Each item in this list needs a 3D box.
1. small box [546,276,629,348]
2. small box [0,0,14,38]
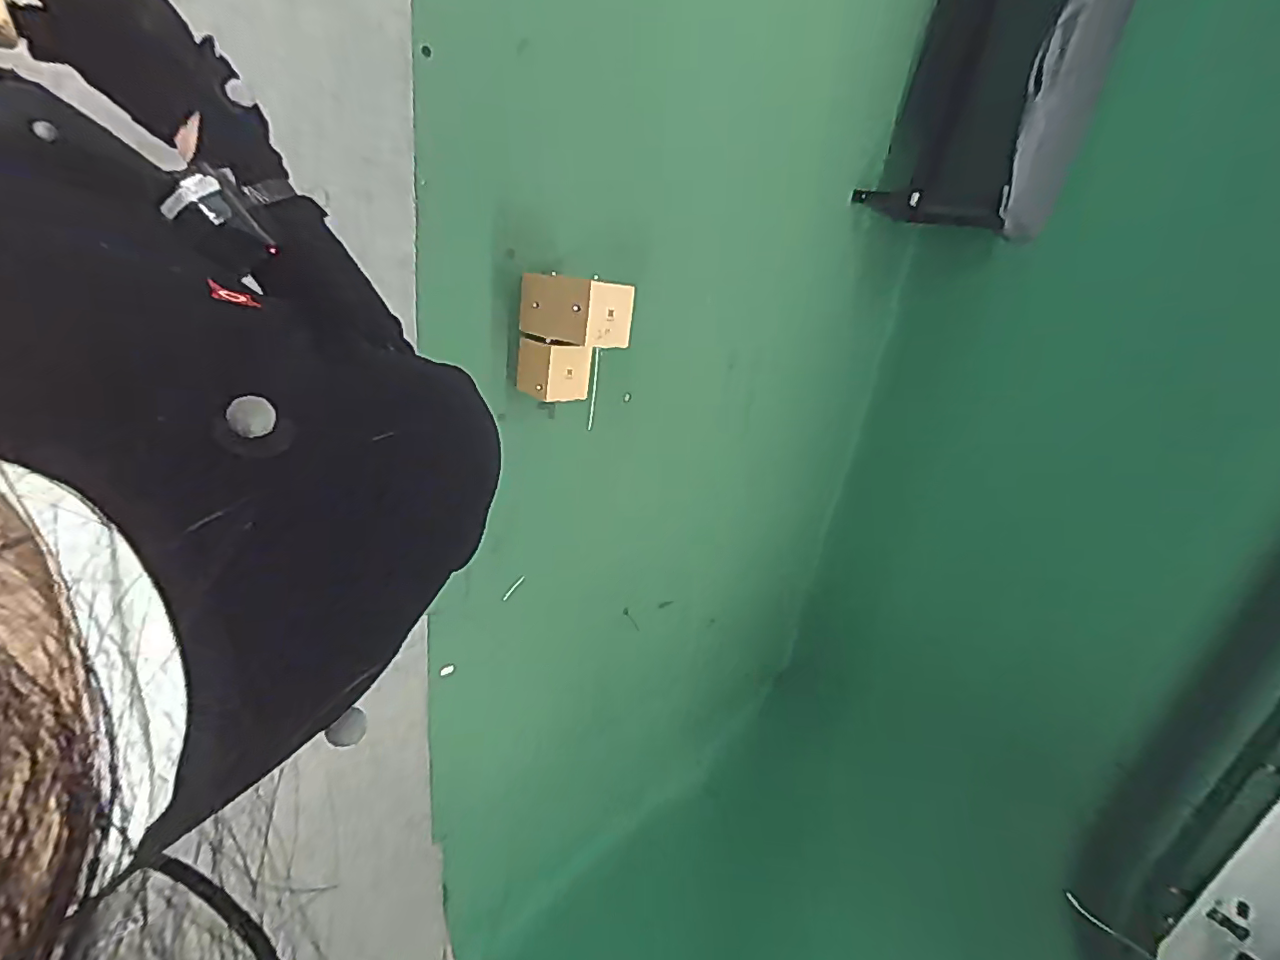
[{"bbox_3d":[-0.155,-0.486,1.562,0.168,0.176,0.179,-12,119,-44],"label":"small box"},{"bbox_3d":[-0.396,-0.308,0.215,0.168,0.176,0.179,-16,127,-42],"label":"small box"}]
